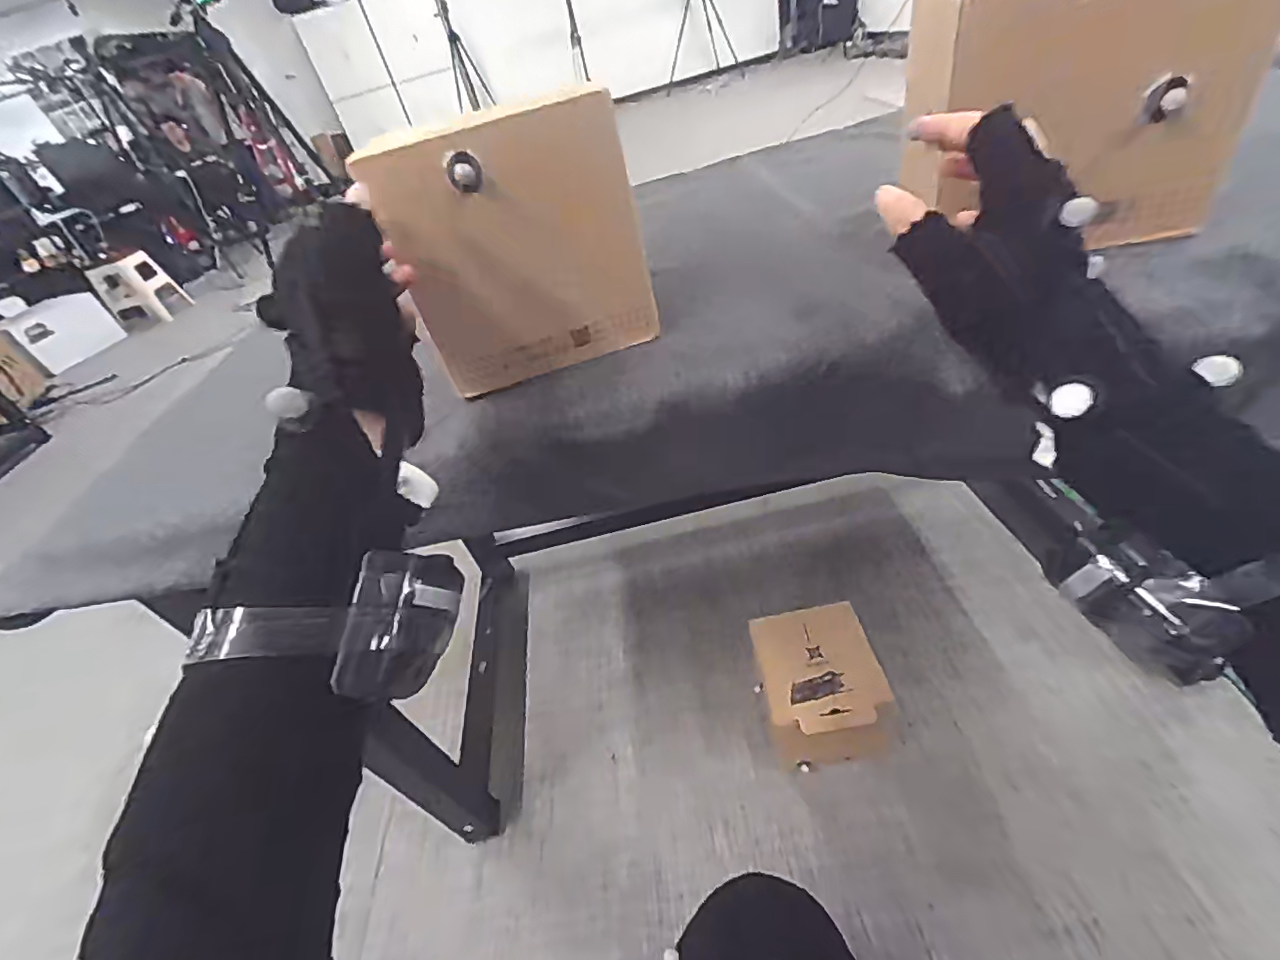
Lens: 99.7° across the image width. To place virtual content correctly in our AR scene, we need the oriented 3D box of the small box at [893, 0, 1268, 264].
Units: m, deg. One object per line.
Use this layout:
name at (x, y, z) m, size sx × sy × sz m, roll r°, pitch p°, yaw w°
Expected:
small box at (0.292, -0.272, 0.400) m, size 0.168 × 0.176 × 0.179 m, roll -2°, pitch 40°, yaw 16°

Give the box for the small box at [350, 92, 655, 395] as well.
small box at (-0.097, -0.194, 0.442) m, size 0.168 × 0.176 × 0.179 m, roll -18°, pitch 37°, yaw -2°

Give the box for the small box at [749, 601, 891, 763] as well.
small box at (0.278, 0.324, 0.853) m, size 0.168 × 0.176 × 0.179 m, roll -13°, pitch 39°, yaw 6°
